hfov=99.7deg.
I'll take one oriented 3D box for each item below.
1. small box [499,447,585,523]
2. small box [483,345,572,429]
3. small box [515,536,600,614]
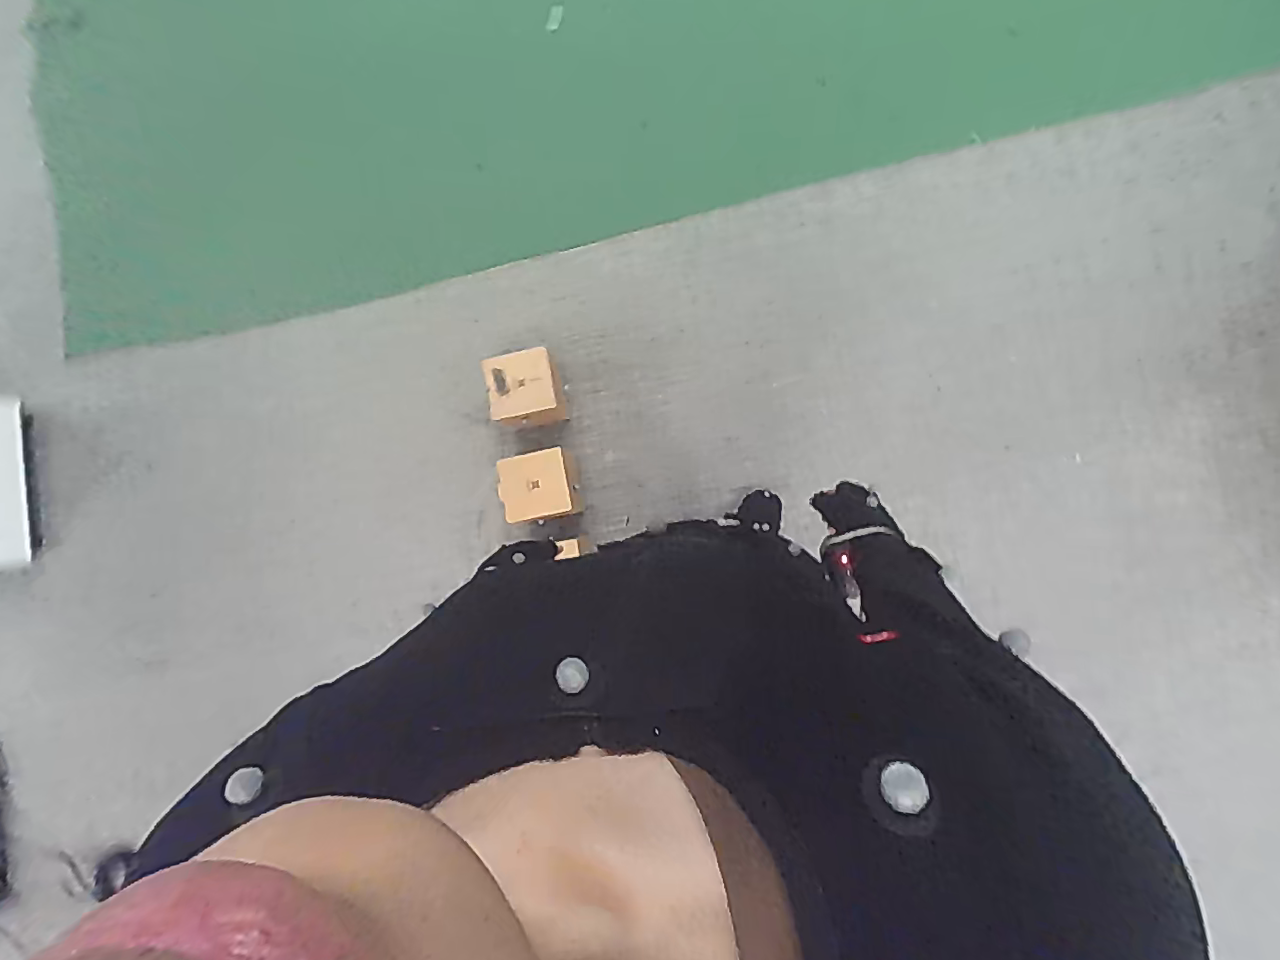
[{"bbox_3d":[-0.252,0.016,1.440,0.179,0.176,0.168,-13,85,6],"label":"small box"},{"bbox_3d":[-0.297,-0.243,1.458,0.179,0.176,0.168,-12,86,5],"label":"small box"},{"bbox_3d":[-0.207,0.243,1.421,0.179,0.176,0.168,-11,85,6],"label":"small box"}]
